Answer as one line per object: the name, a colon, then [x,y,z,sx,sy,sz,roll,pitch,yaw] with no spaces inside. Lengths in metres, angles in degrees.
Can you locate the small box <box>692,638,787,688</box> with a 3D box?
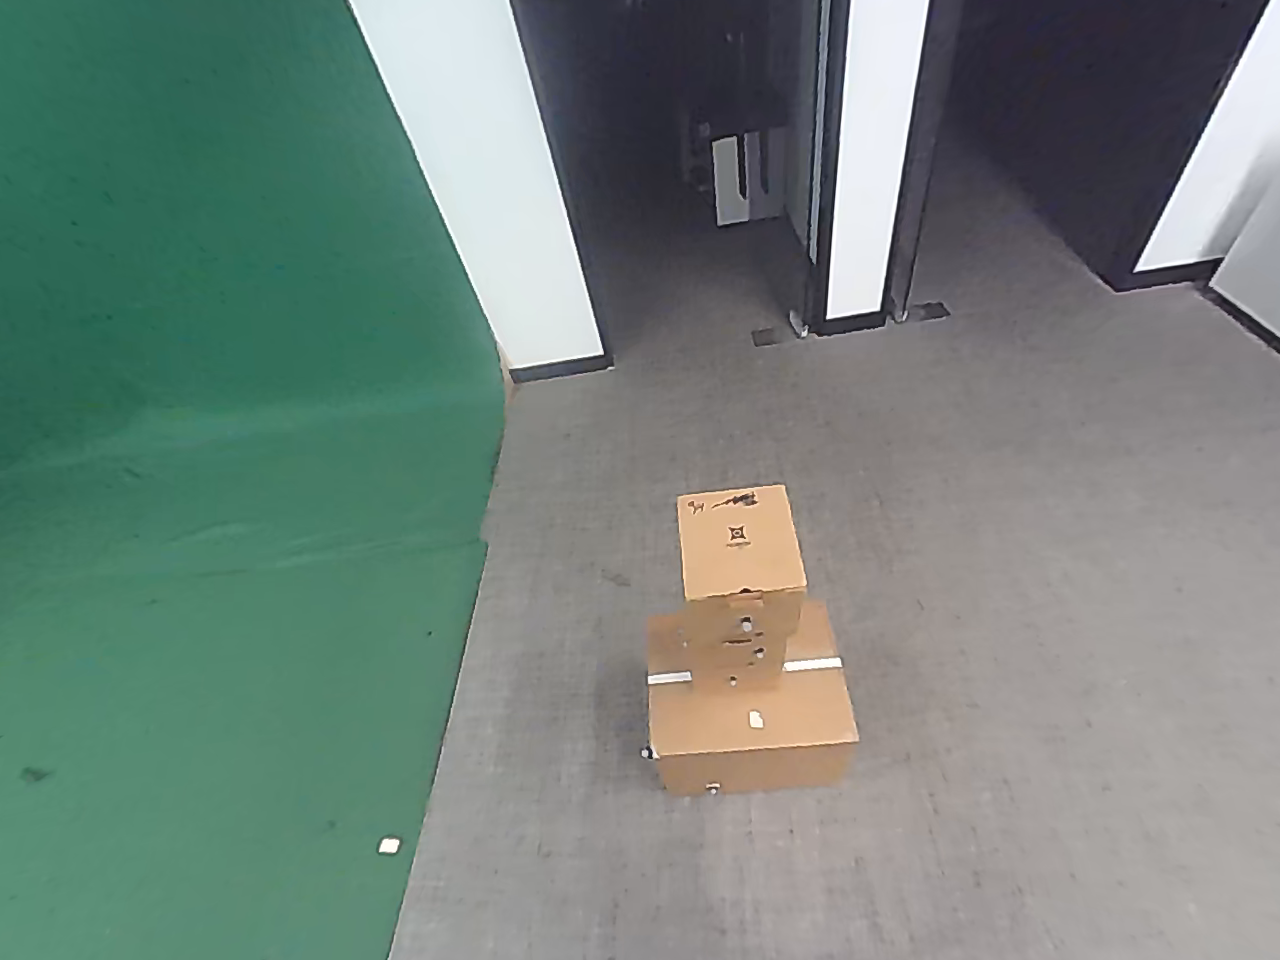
small box: [0.194,0.317,1.110,0.179,0.176,0.168,-8,53,6]

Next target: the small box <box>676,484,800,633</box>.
small box: [0.151,0.131,0.847,0.168,0.176,0.179,-7,54,7]

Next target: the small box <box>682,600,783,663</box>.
small box: [0.165,0.222,0.982,0.168,0.176,0.179,-7,52,6]
